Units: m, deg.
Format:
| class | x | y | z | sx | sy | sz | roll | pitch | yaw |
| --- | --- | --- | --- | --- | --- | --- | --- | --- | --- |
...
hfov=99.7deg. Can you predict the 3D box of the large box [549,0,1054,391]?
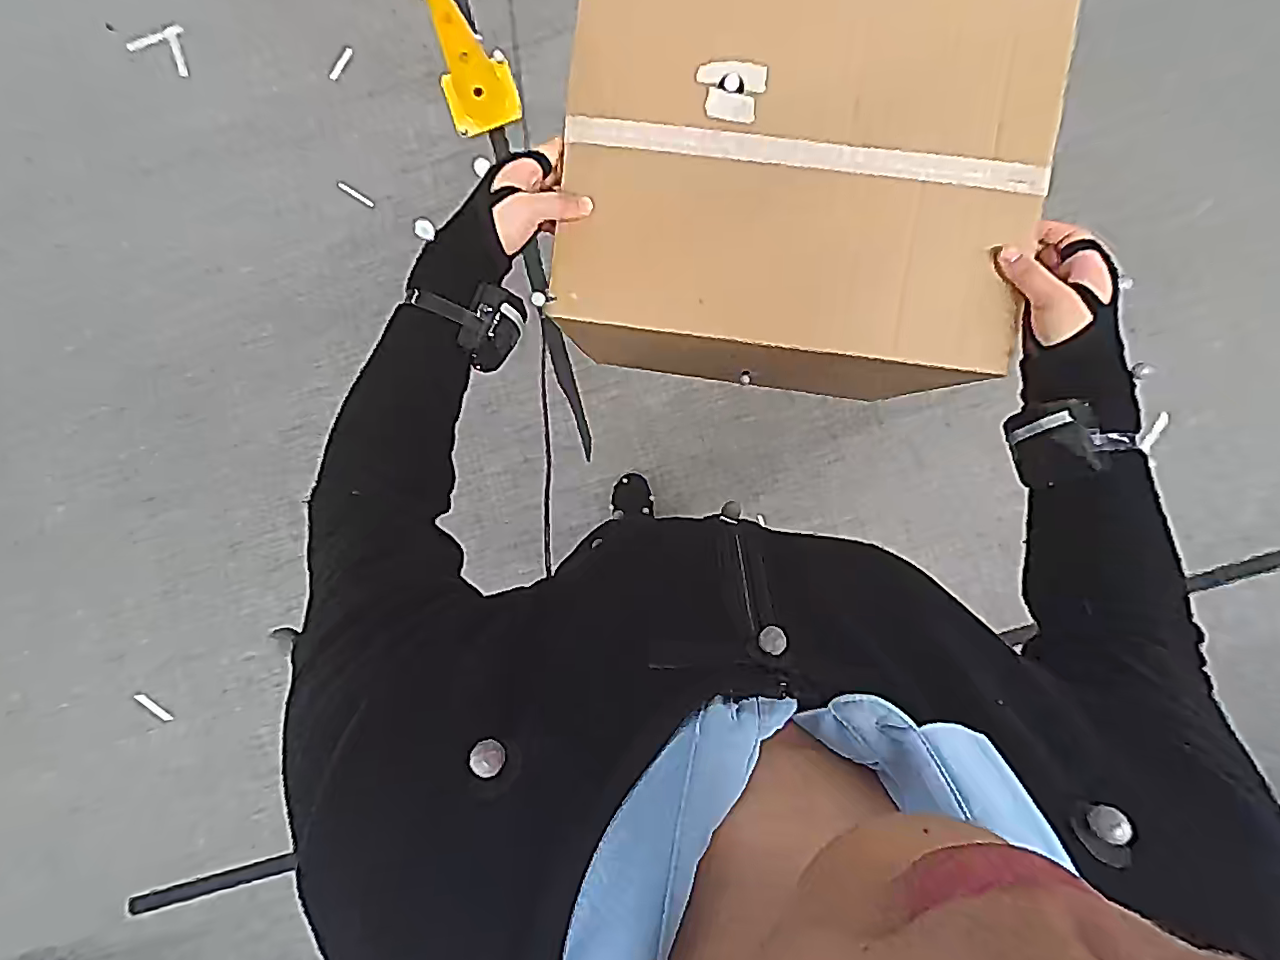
| class | x | y | z | sx | sy | sz | roll | pitch | yaw |
| --- | --- | --- | --- | --- | --- | --- | --- | --- | --- |
| large box | 0.142 | -0.284 | 0.616 | 0.408 | 0.320 | 0.320 | 7 | 93 | 4 |
